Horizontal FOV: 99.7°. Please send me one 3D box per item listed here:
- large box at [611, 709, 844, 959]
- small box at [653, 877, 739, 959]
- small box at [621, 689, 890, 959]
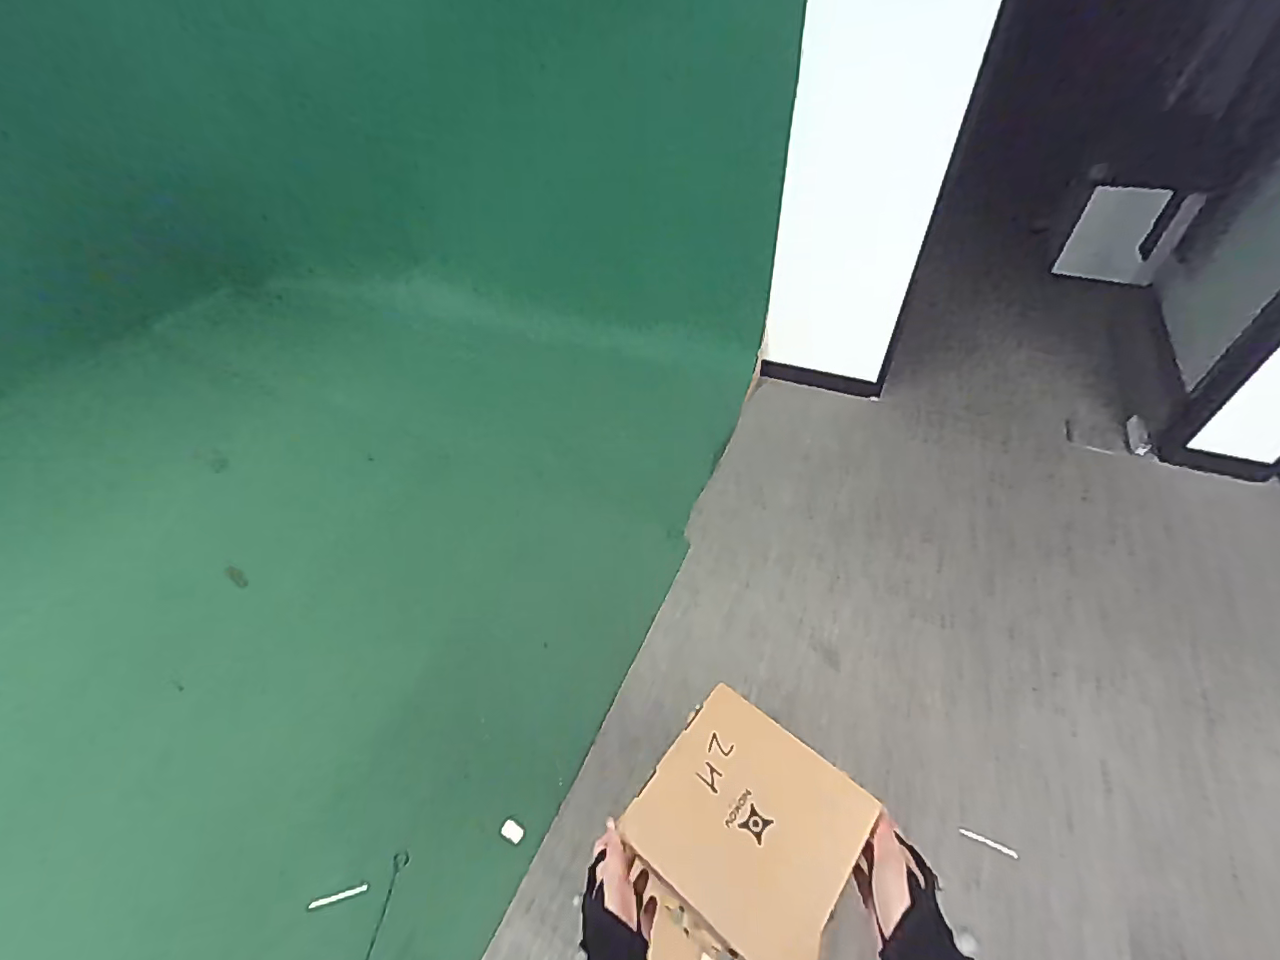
[{"bbox_3d":[0.176,0.741,1.042,0.320,0.320,0.408,16,50,18],"label":"large box"},{"bbox_3d":[0.134,0.610,0.834,0.168,0.176,0.179,25,54,25],"label":"small box"},{"bbox_3d":[0.105,0.346,0.531,0.179,0.176,0.168,32,60,27],"label":"small box"}]
